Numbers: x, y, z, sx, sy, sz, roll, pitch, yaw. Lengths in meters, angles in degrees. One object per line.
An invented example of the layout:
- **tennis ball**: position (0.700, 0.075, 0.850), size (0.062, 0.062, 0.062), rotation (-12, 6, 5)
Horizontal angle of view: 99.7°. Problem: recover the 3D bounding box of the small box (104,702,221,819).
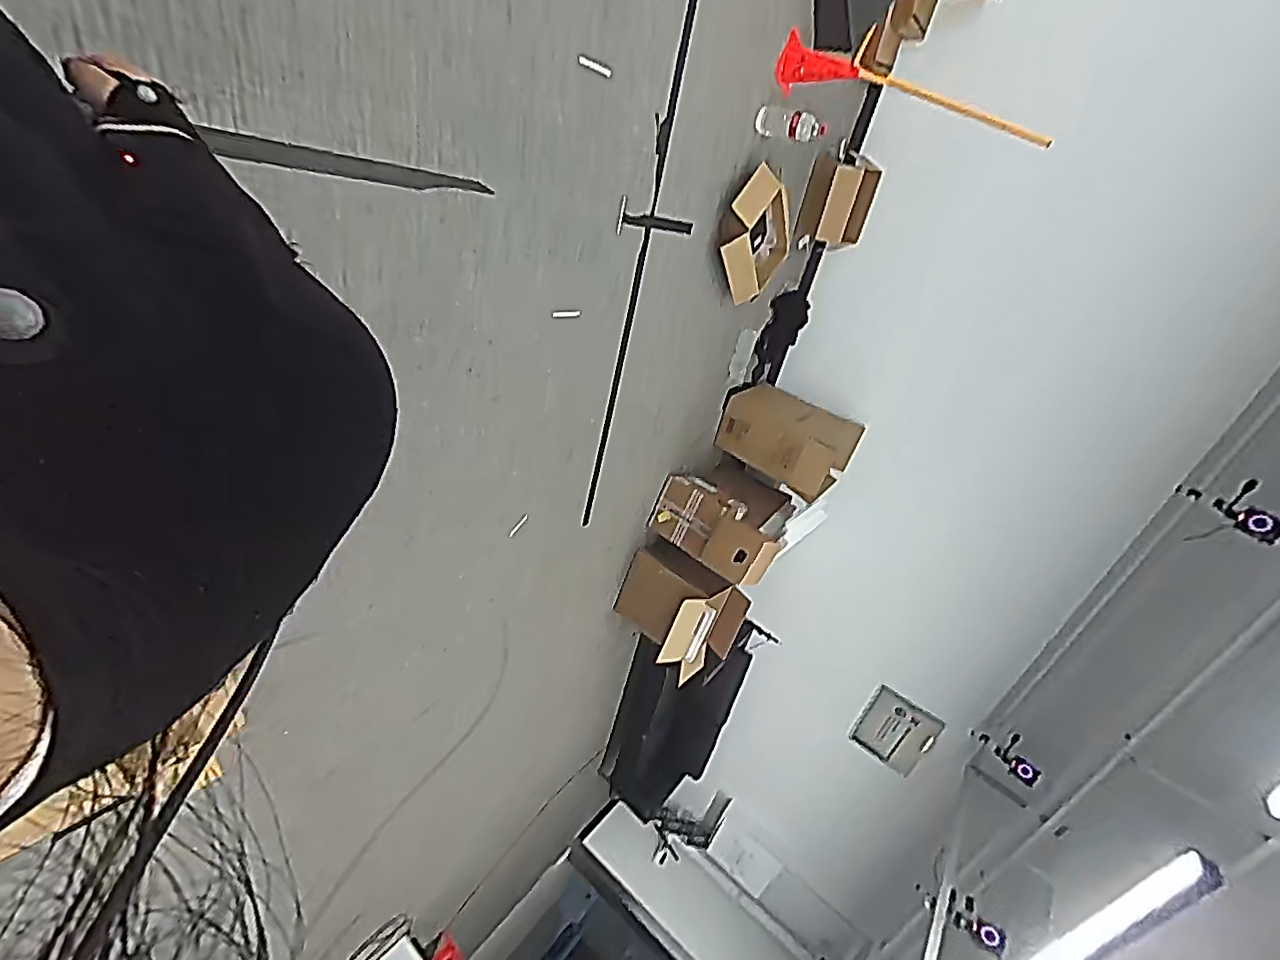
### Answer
- **small box**: position (-1.228, 0.717, 1.397), size (0.168, 0.176, 0.179), rotation (-29, 141, -45)
